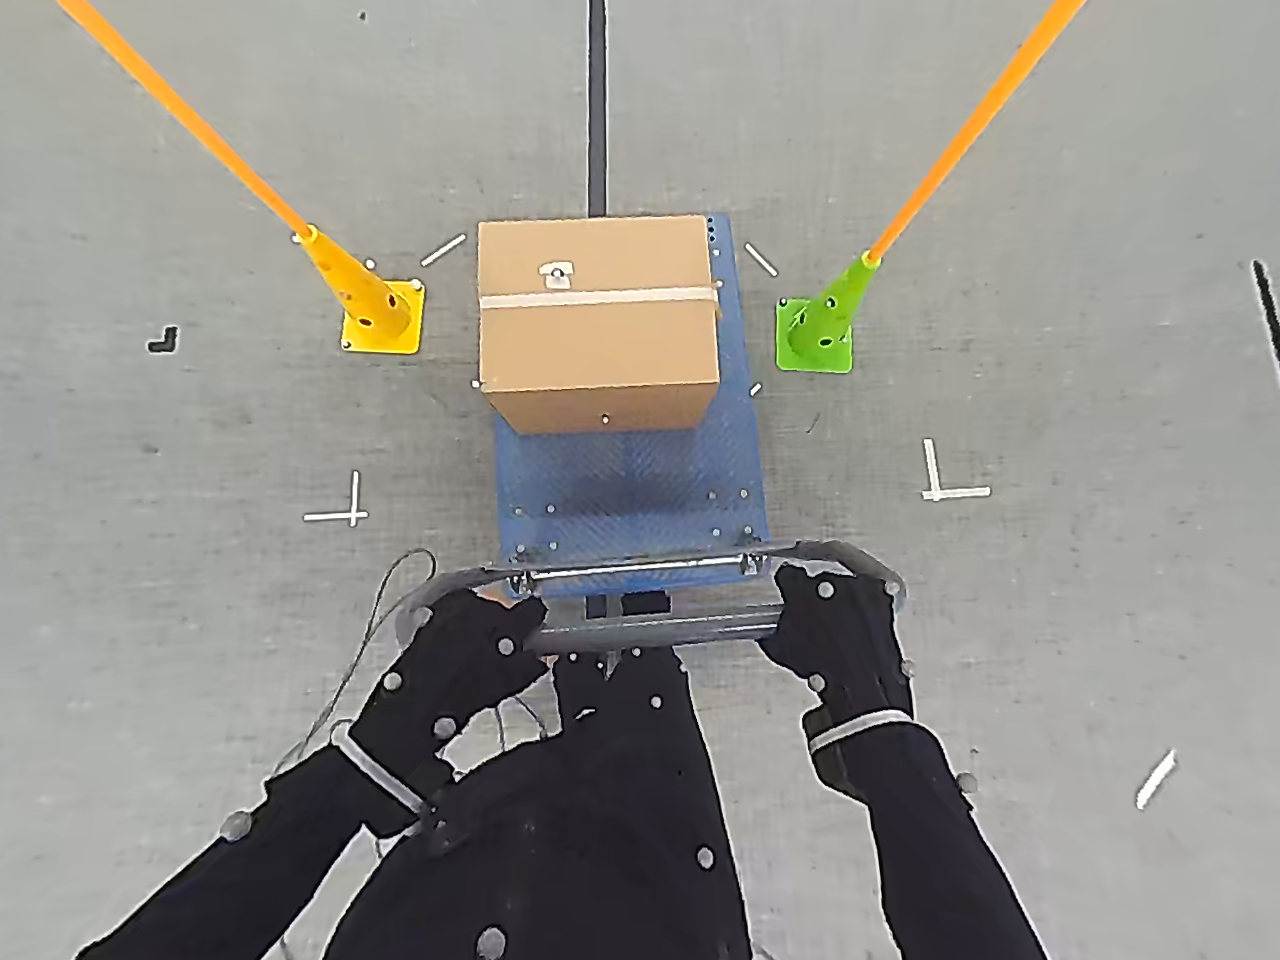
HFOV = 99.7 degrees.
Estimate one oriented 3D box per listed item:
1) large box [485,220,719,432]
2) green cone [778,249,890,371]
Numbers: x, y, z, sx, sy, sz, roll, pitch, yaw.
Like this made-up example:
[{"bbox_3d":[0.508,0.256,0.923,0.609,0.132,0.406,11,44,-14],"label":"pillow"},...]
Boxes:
[{"bbox_3d":[-0.070,-0.283,1.088,0.408,0.320,0.320,-2,81,-1],"label":"large box"},{"bbox_3d":[0.472,-0.415,1.265,0.202,0.368,0.200,4,81,-2],"label":"green cone"}]
